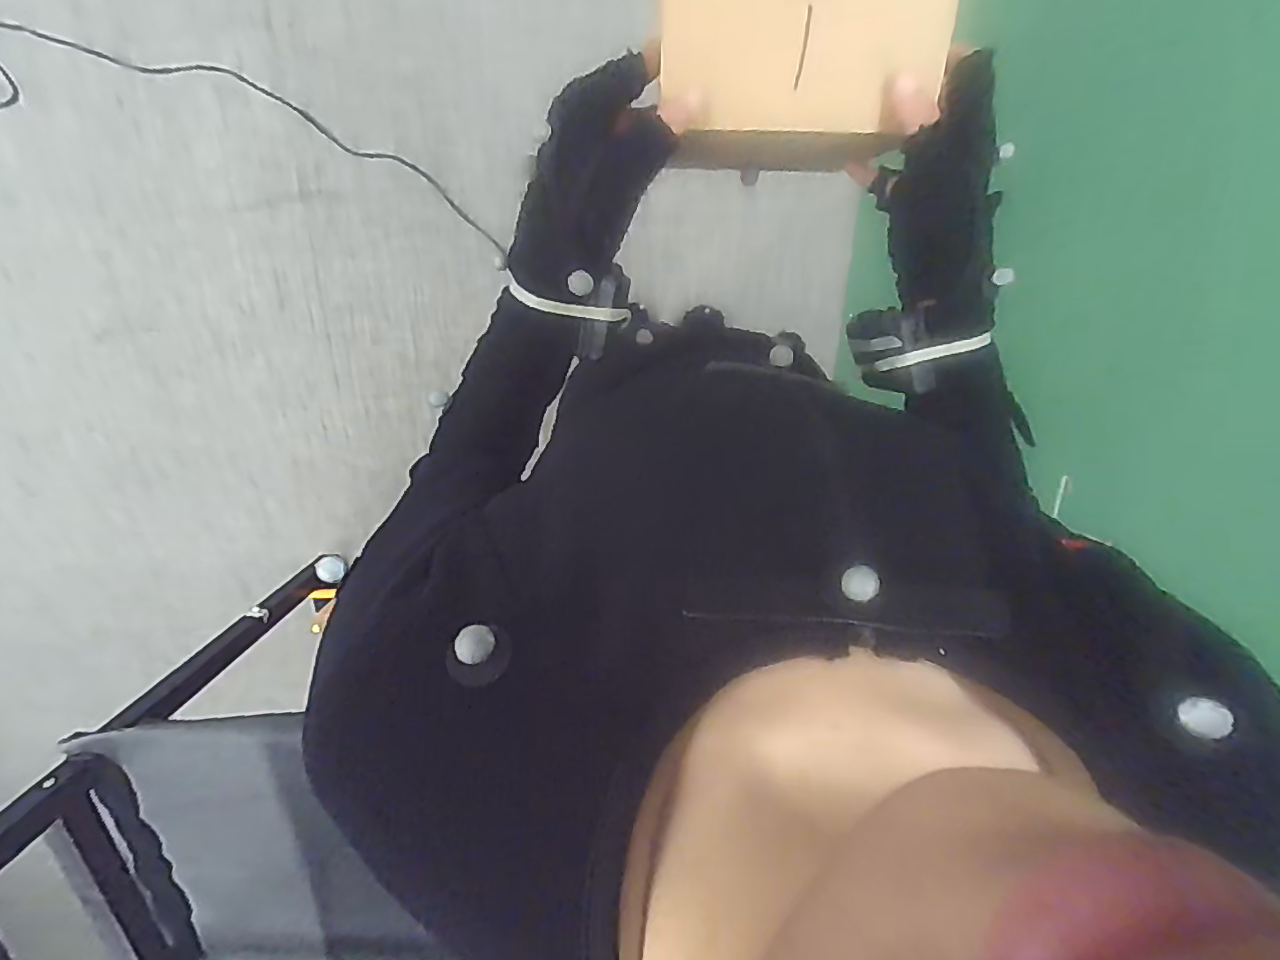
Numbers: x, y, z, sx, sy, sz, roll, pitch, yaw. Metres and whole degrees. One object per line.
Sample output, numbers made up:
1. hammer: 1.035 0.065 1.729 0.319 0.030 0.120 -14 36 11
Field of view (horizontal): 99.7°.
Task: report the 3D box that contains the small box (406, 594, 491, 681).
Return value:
1. small box: -0.520 0.427 1.488 0.168 0.176 0.179 -1 108 2
